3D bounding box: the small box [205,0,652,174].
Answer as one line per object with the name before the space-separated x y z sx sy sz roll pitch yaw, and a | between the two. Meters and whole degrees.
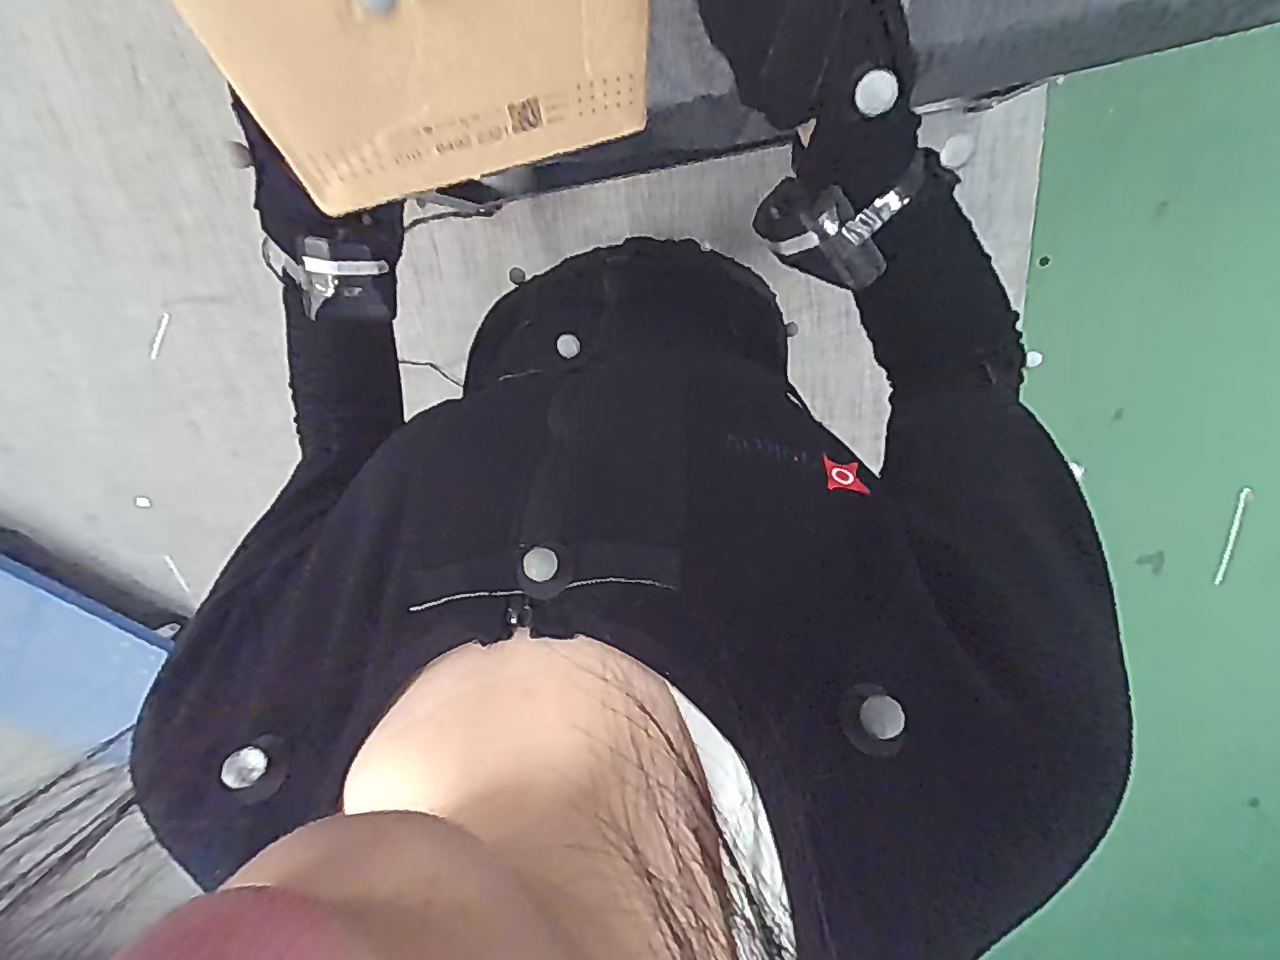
small box | -0.095 -0.254 0.212 0.168 0.176 0.179 -19 74 -9
